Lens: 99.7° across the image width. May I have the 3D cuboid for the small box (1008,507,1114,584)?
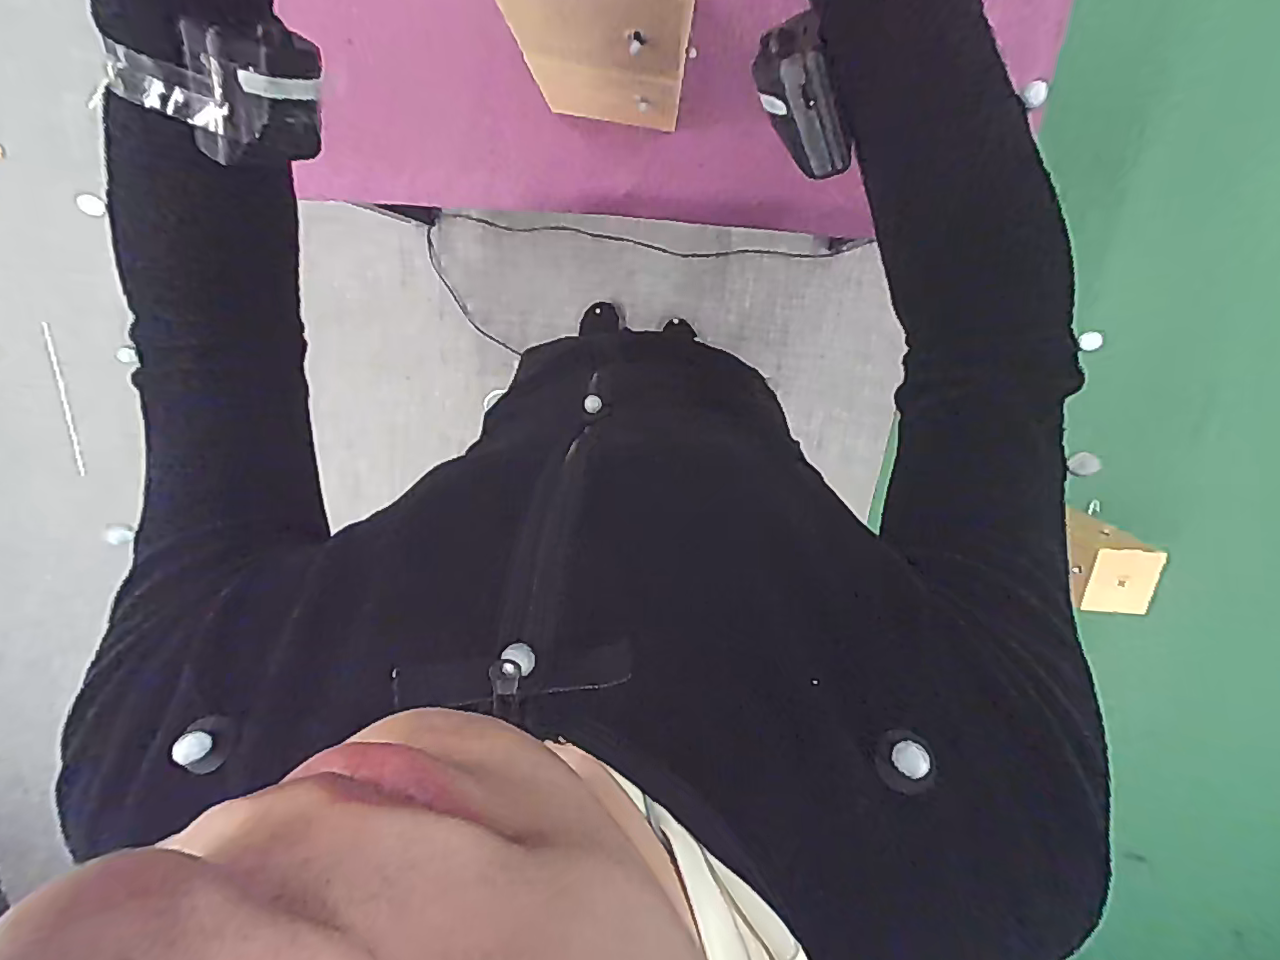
[{"bbox_3d":[1.219,0.192,1.582,0.168,0.176,0.179,2,107,2],"label":"small box"}]

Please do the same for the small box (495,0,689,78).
[{"bbox_3d":[-0.034,-0.506,0.499,0.179,0.176,0.168,9,107,0],"label":"small box"}]

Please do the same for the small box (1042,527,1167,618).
[{"bbox_3d":[1.212,0.240,1.427,0.168,0.176,0.179,4,107,2],"label":"small box"}]
